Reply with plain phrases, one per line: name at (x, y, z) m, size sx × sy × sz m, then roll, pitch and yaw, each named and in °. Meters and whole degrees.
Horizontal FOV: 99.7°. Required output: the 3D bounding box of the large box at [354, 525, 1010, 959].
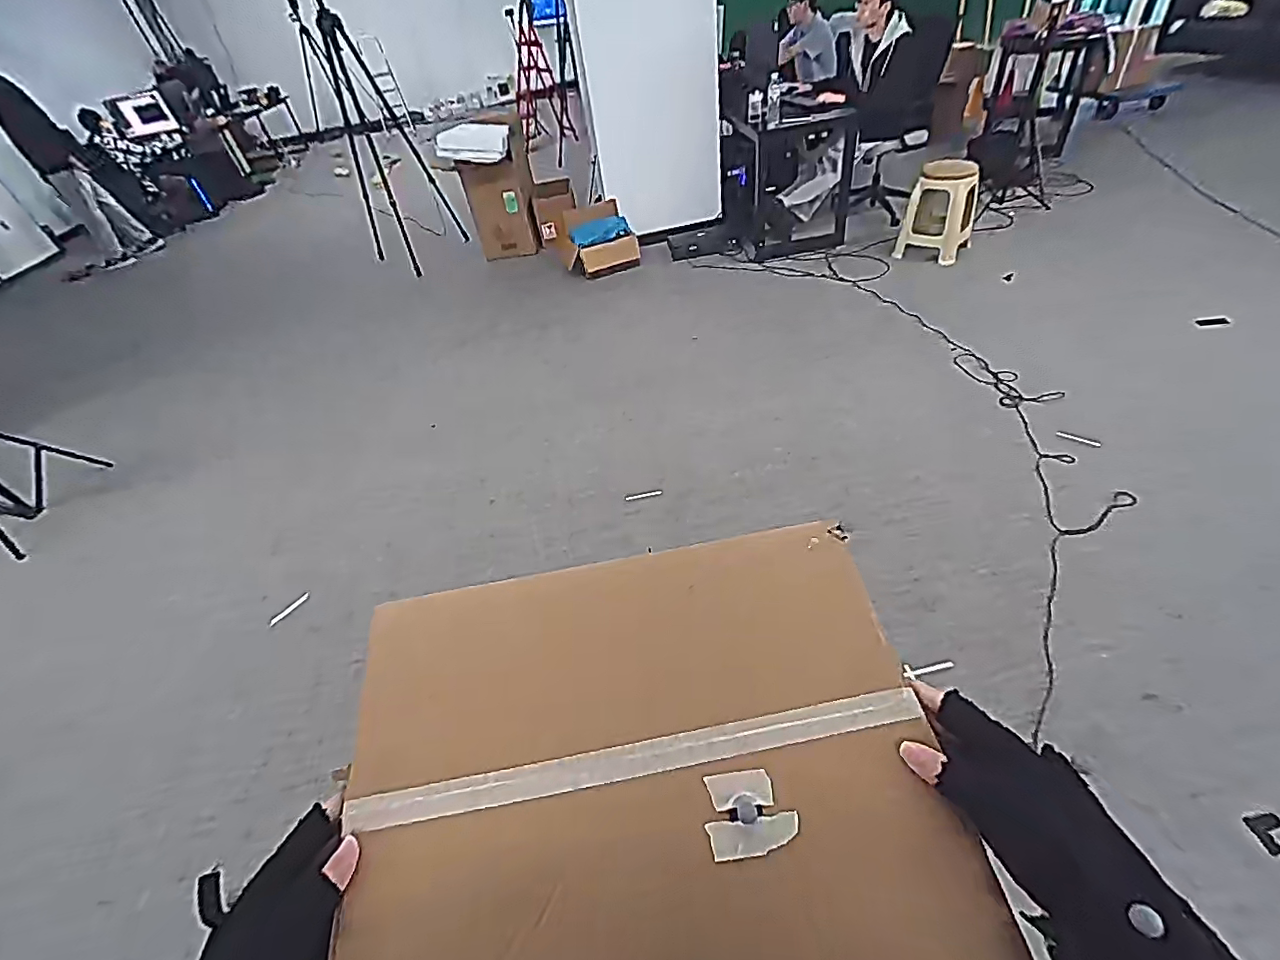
large box at (0.010, 0.284, 0.516) m, size 0.408 × 0.320 × 0.320 m, roll -10°, pitch 55°, yaw -2°
